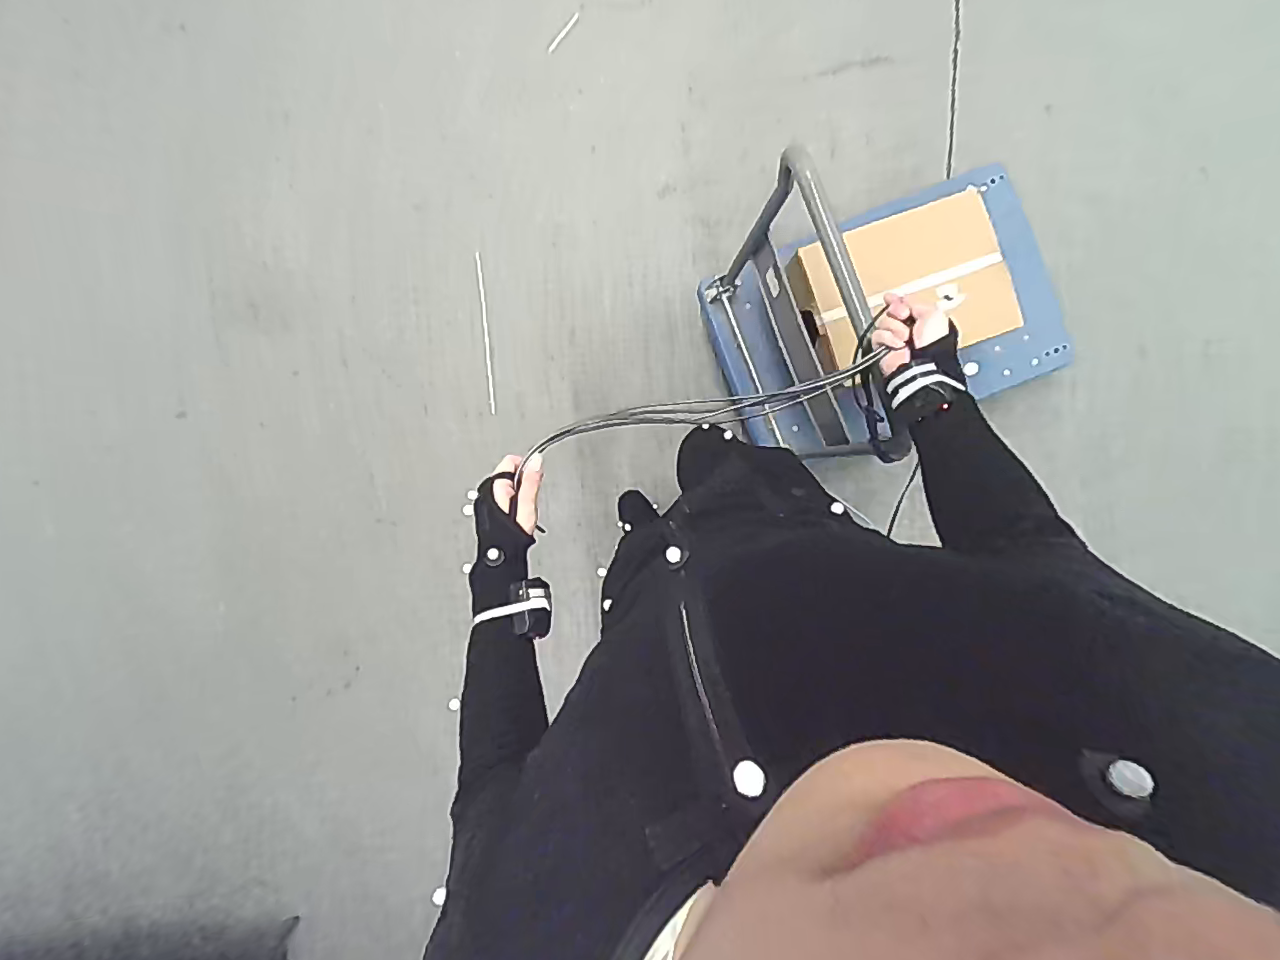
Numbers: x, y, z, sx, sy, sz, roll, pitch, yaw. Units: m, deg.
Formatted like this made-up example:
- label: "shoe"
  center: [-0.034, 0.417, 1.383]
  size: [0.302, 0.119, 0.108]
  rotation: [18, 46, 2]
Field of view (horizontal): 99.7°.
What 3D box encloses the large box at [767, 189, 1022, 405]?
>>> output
- label: "large box"
  center: [0.569, -0.403, 1.283]
  size: [0.408, 0.320, 0.320]
  rotation: [-19, 91, 0]
